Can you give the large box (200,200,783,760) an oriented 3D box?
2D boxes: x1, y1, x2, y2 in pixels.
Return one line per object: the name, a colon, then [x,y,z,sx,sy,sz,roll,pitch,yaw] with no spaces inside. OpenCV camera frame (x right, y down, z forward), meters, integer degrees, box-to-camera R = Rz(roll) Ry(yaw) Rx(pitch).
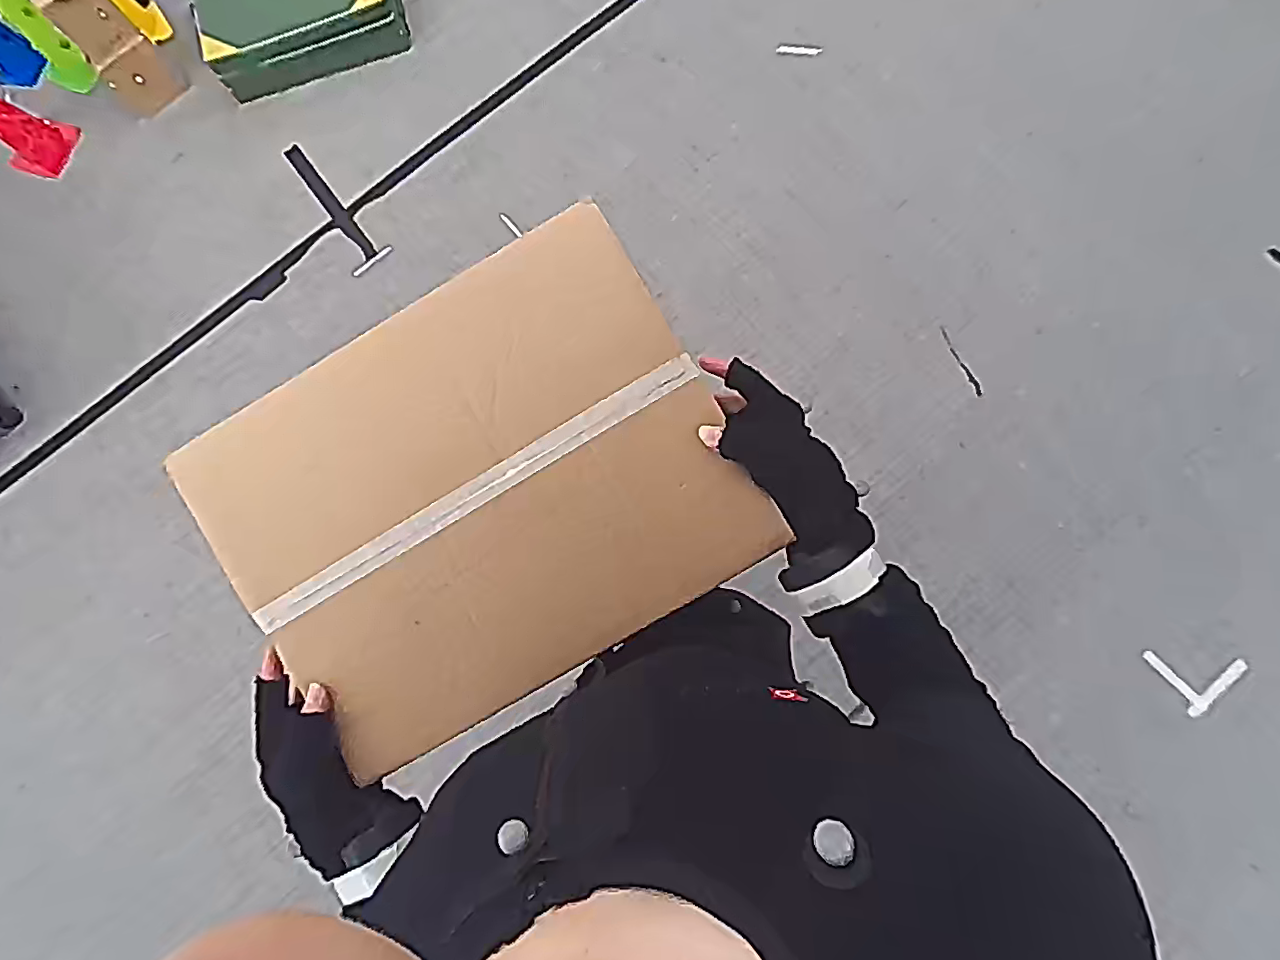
large box: [-0.122,0.004,0.590,0.408,0.320,0.320,-30,90,3]
